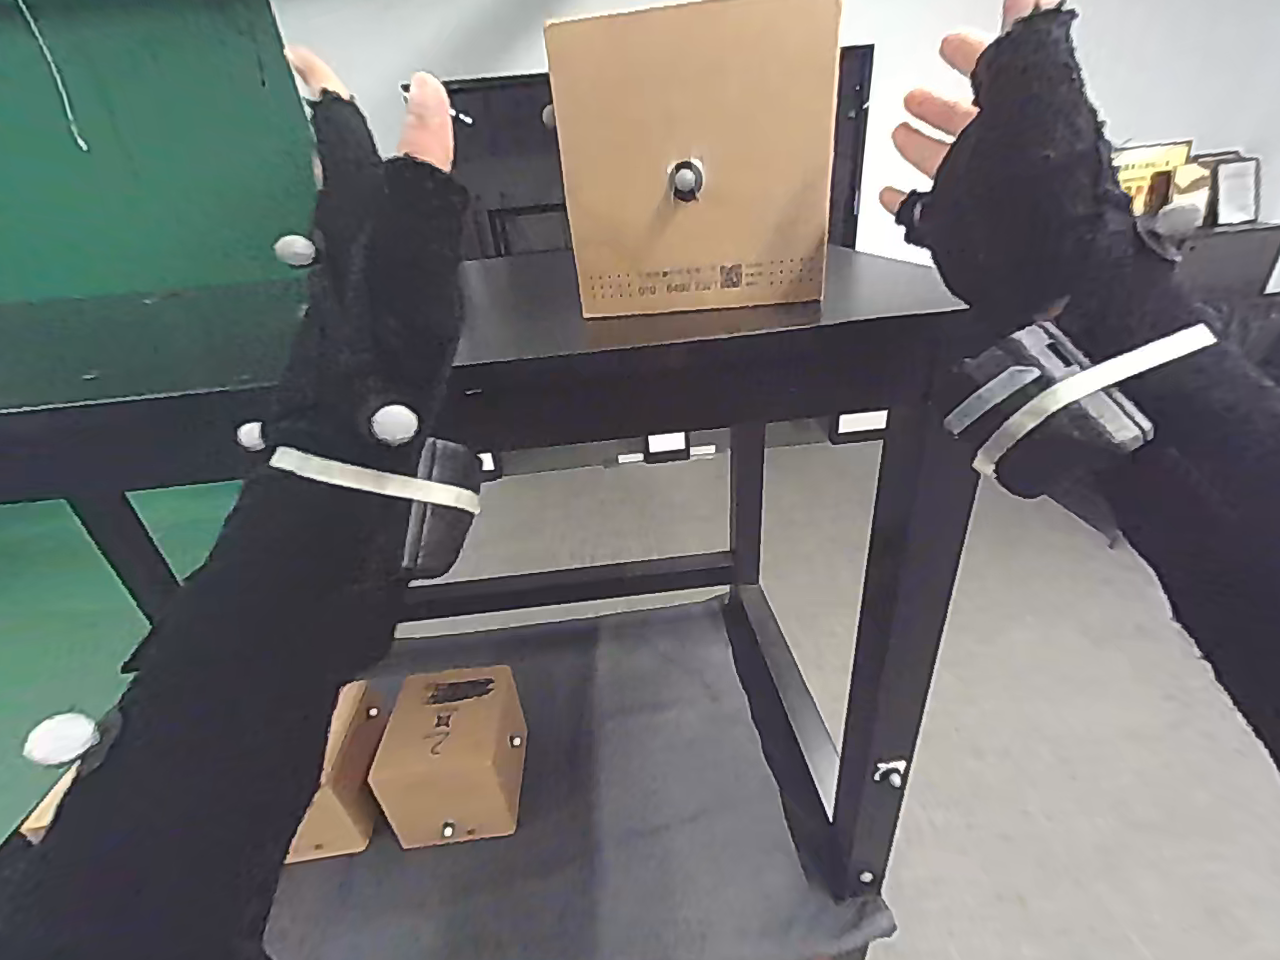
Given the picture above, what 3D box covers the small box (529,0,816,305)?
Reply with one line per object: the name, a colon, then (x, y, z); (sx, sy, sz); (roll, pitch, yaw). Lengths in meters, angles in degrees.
small box: (0.033, -0.231, 0.405); (0.168, 0.176, 0.179); (-1, 28, 8)
